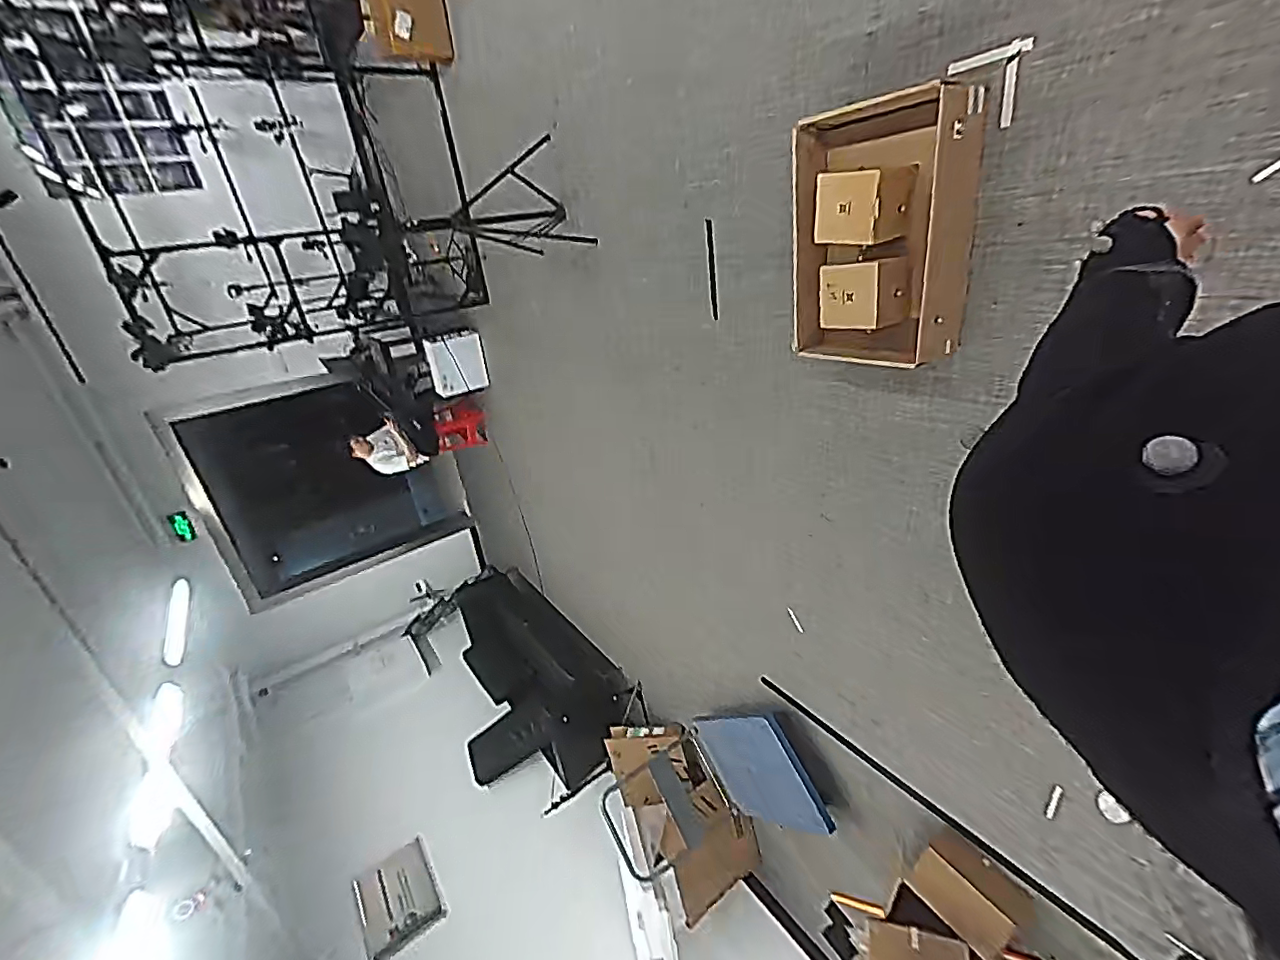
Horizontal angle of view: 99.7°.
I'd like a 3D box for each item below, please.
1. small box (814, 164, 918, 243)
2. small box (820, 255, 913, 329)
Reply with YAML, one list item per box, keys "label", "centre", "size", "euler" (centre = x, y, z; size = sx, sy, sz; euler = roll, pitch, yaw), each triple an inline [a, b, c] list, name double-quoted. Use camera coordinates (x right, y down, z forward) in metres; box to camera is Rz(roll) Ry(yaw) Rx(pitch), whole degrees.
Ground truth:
- label: "small box"
  centre: [0.579, -0.714, 1.396]
  size: [0.179, 0.176, 0.168]
  euler: [31, 135, 46]
- label: "small box"
  centre: [0.615, -0.512, 1.470]
  size: [0.179, 0.176, 0.168]
  euler: [23, 127, 51]
